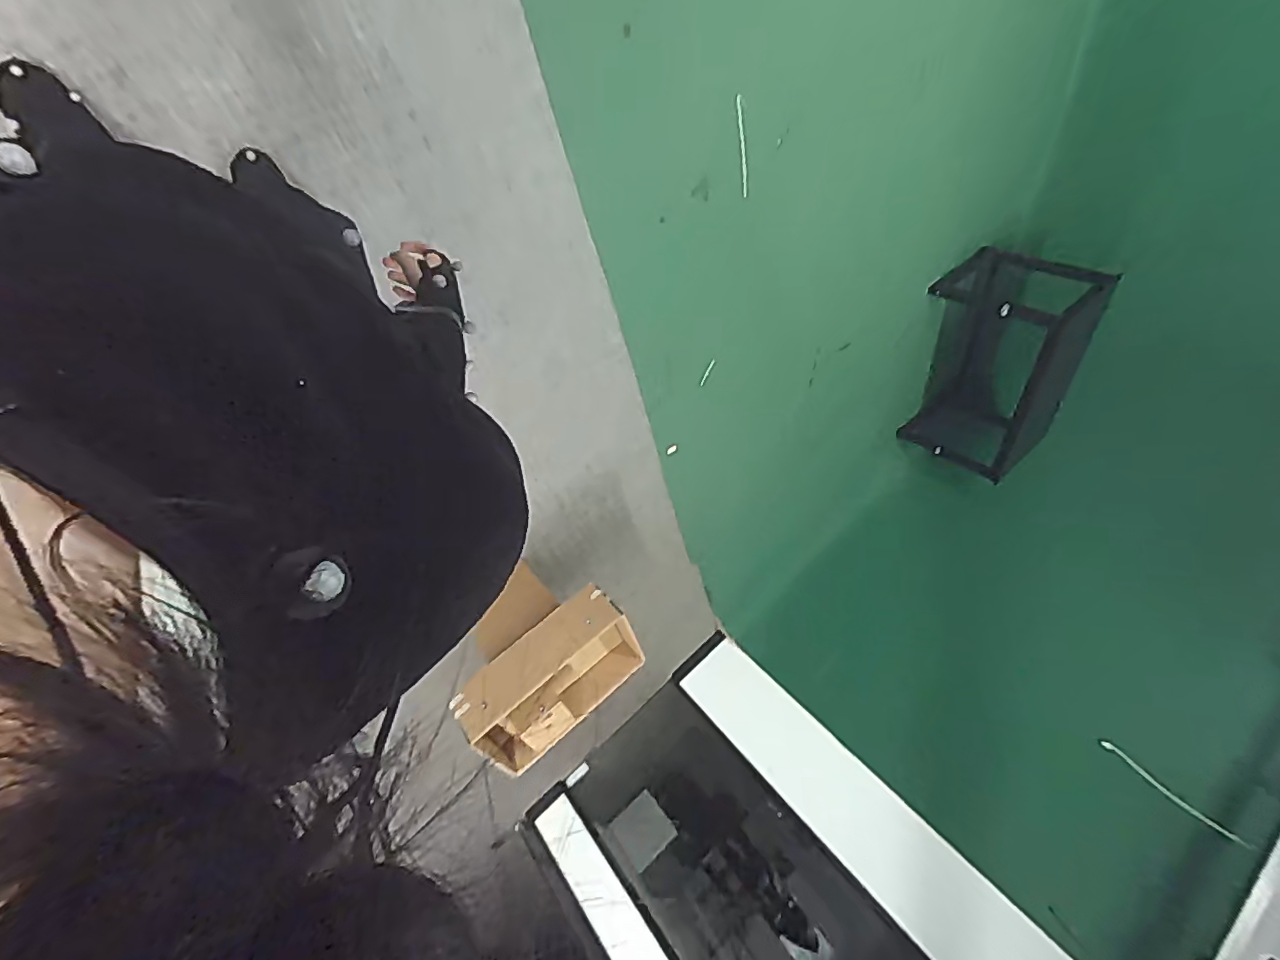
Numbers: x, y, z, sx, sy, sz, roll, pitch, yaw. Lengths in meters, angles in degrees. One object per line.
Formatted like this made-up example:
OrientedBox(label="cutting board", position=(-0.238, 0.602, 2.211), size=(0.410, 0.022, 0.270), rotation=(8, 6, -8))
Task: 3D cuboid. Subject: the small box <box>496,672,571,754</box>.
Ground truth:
OrientedBox(label="small box", position=(-0.364, 0.792, 1.853), size=(0.168, 0.176, 0.179), rotation=(-37, 140, -20))
